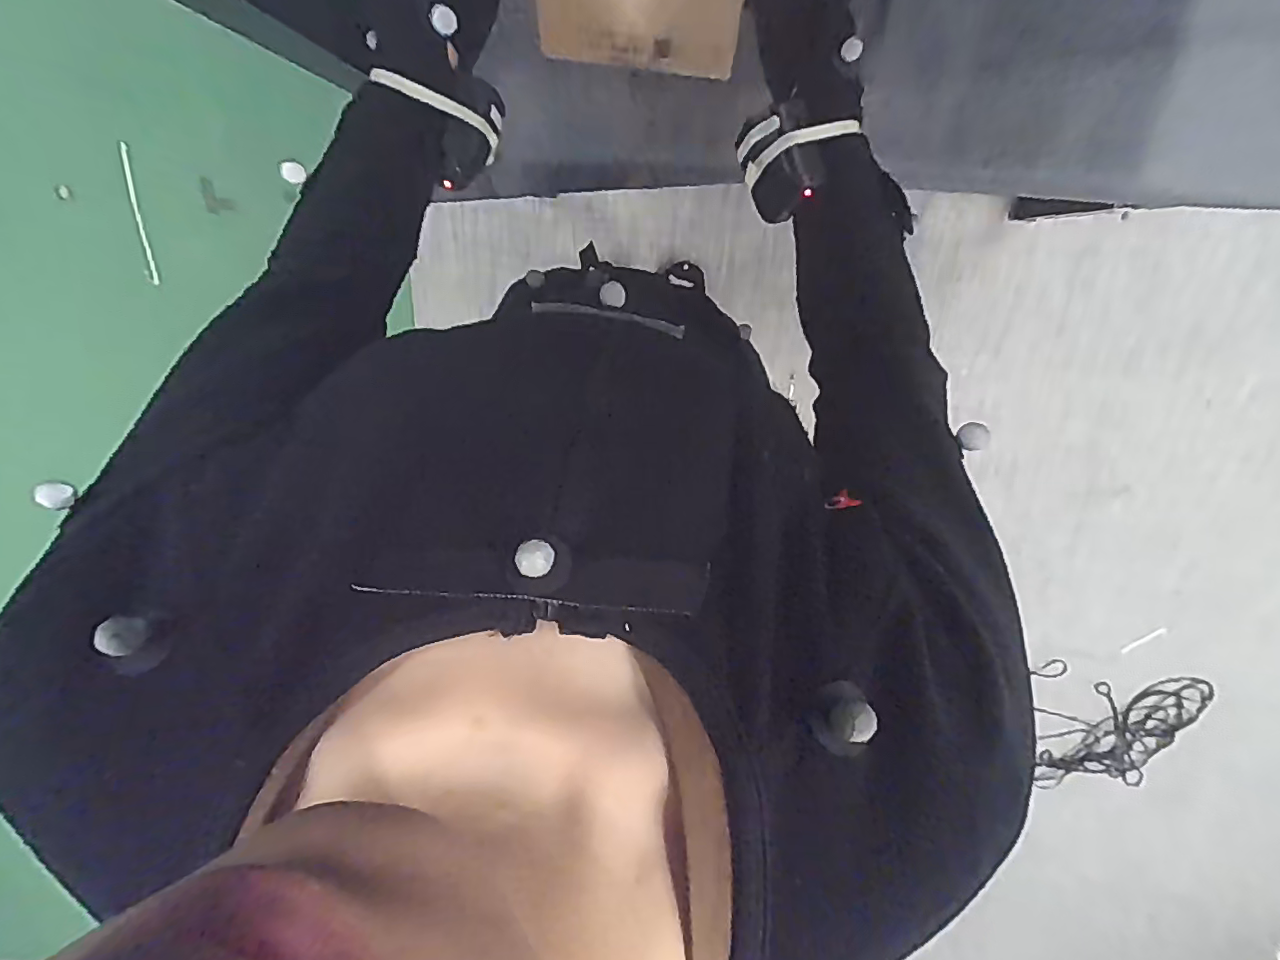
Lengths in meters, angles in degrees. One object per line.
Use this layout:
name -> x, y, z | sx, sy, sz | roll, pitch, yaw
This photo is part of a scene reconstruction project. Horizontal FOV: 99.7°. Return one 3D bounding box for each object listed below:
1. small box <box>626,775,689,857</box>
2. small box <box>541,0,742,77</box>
small box -> 0.062, 1.186, 1.915 | 0.179, 0.176, 0.168 | 18, 111, -4
small box -> 0.009, -0.463, 0.424 | 0.168, 0.176, 0.179 | 7, 73, -2
